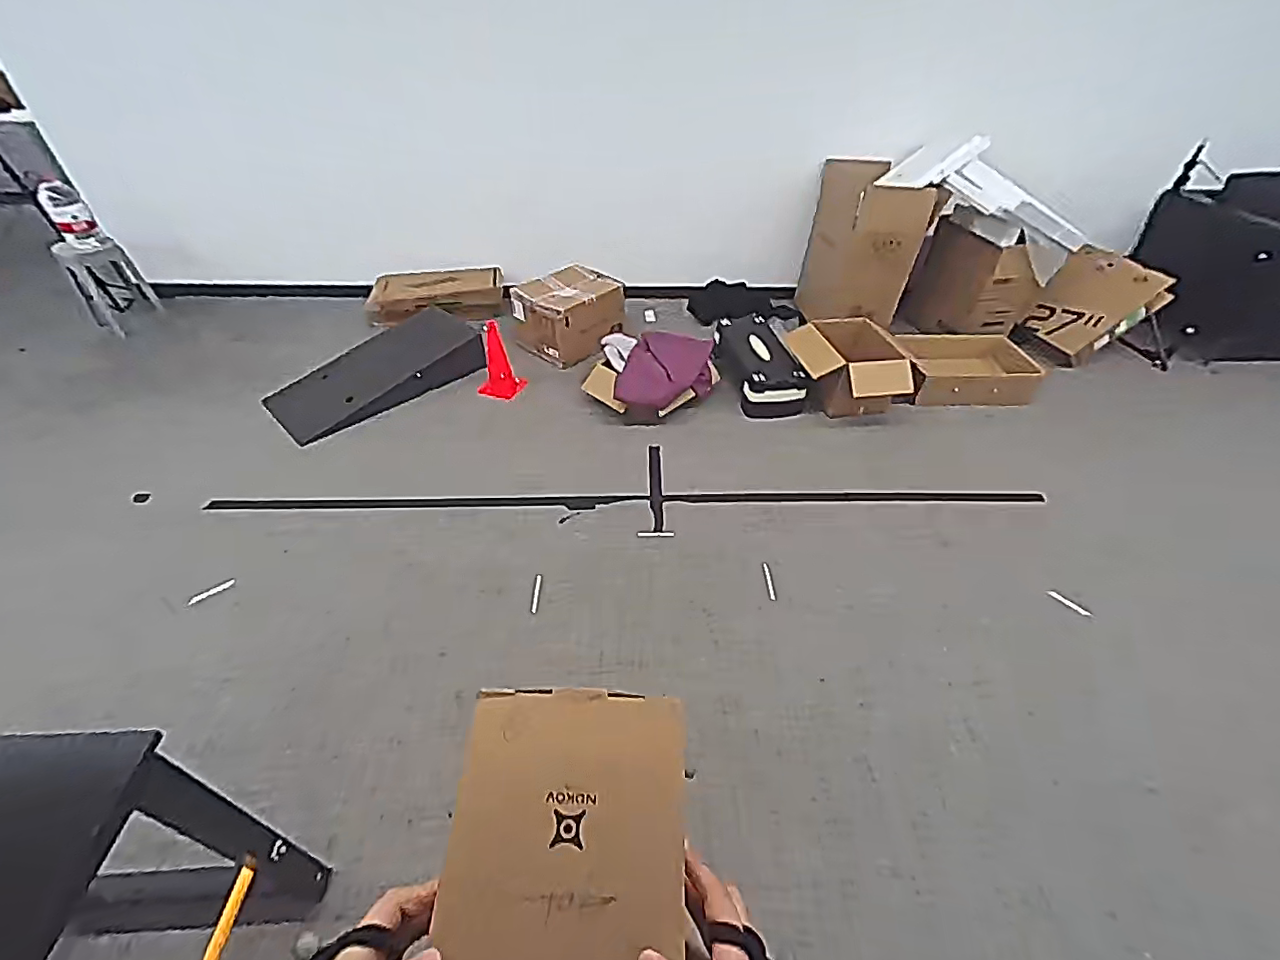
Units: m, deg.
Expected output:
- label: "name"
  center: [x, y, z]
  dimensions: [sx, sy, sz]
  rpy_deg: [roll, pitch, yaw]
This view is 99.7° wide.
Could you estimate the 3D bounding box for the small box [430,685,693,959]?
- label: "small box"
  center: [-0.047, 0.281, 0.443]
  dimensions: [0.168, 0.176, 0.179]
  rpy_deg: [2, 57, 1]
